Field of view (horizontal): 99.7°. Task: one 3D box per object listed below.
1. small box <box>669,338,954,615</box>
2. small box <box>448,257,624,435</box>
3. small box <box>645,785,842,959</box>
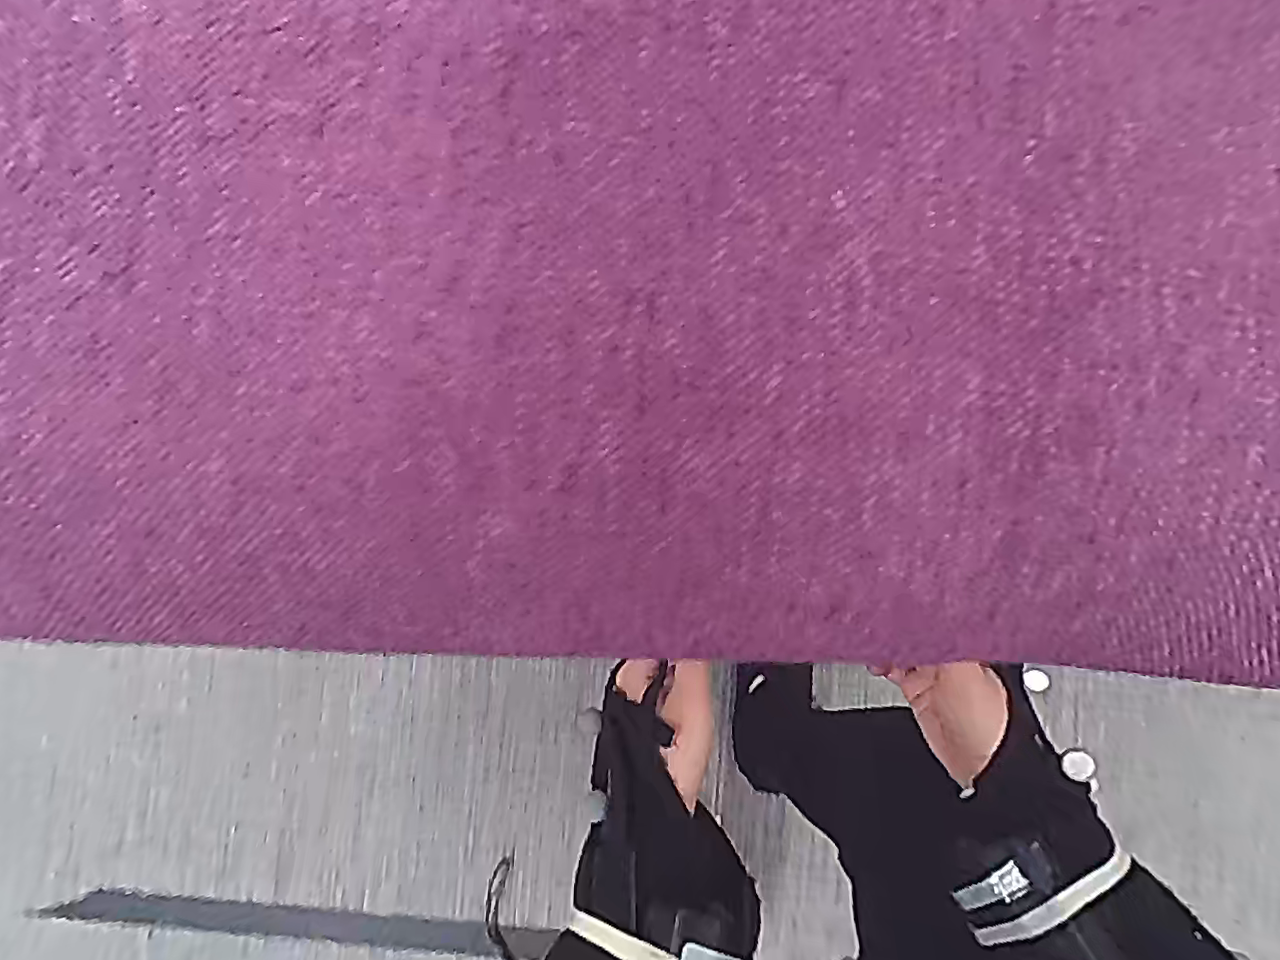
[{"bbox_3d":[0.110,0.005,0.422,0.168,0.176,0.179,-2,82,-1],"label":"small box"},{"bbox_3d":[-0.106,-0.142,0.622,0.179,0.176,0.168,0,90,0],"label":"small box"},{"bbox_3d":[0.117,0.527,0.682,0.179,0.176,0.168,-27,75,-6],"label":"small box"}]
